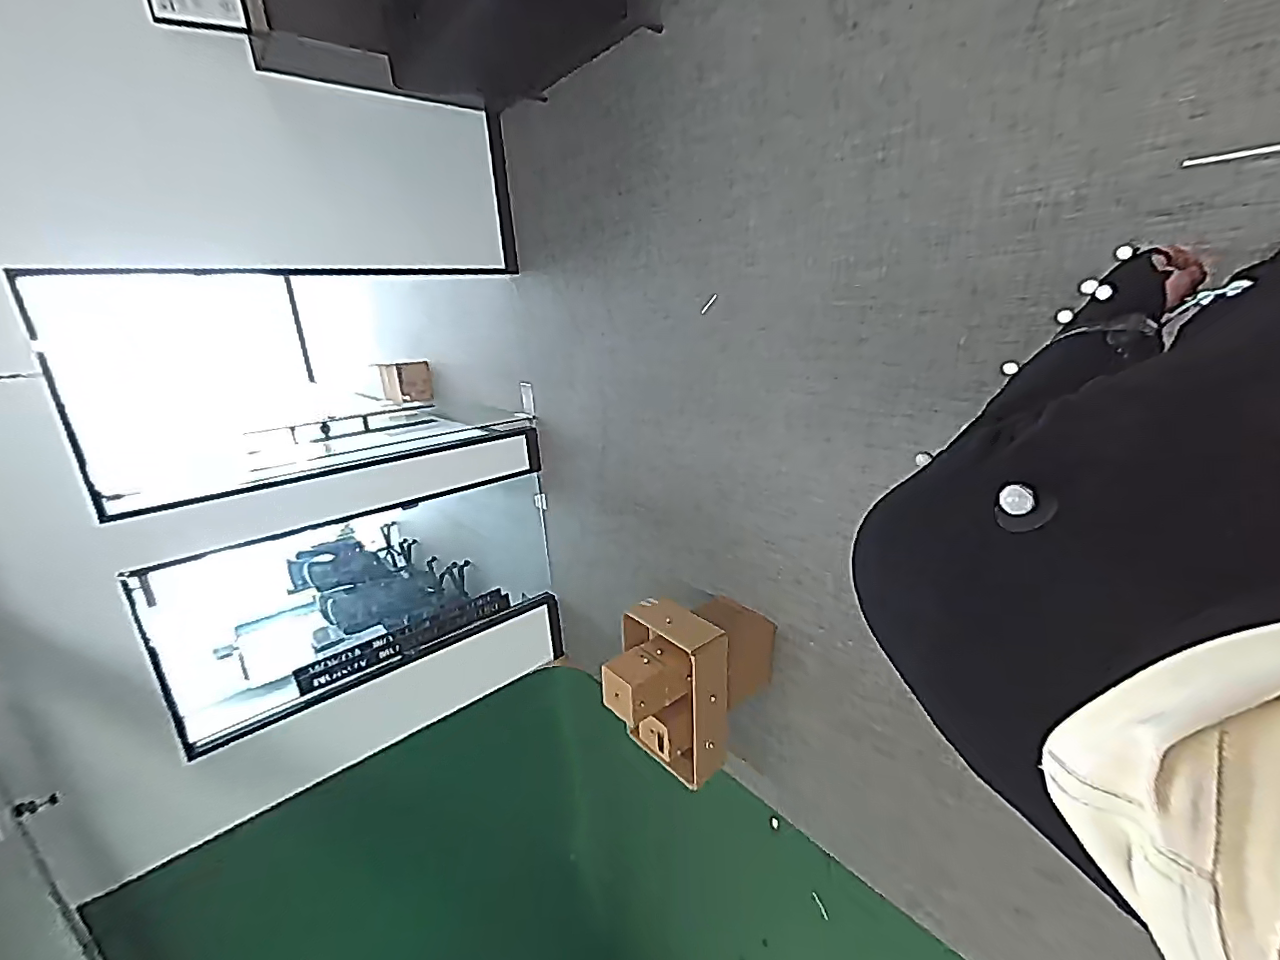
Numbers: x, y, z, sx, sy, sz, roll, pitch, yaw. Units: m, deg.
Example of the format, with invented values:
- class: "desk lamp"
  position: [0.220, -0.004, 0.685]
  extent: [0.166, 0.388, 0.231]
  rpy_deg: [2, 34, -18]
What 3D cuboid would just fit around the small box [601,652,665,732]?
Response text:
- class: "small box"
  position: [-0.022, 0.756, 1.946]
  extent: [0.168, 0.176, 0.179]
  rpy_deg: [19, 116, 45]
